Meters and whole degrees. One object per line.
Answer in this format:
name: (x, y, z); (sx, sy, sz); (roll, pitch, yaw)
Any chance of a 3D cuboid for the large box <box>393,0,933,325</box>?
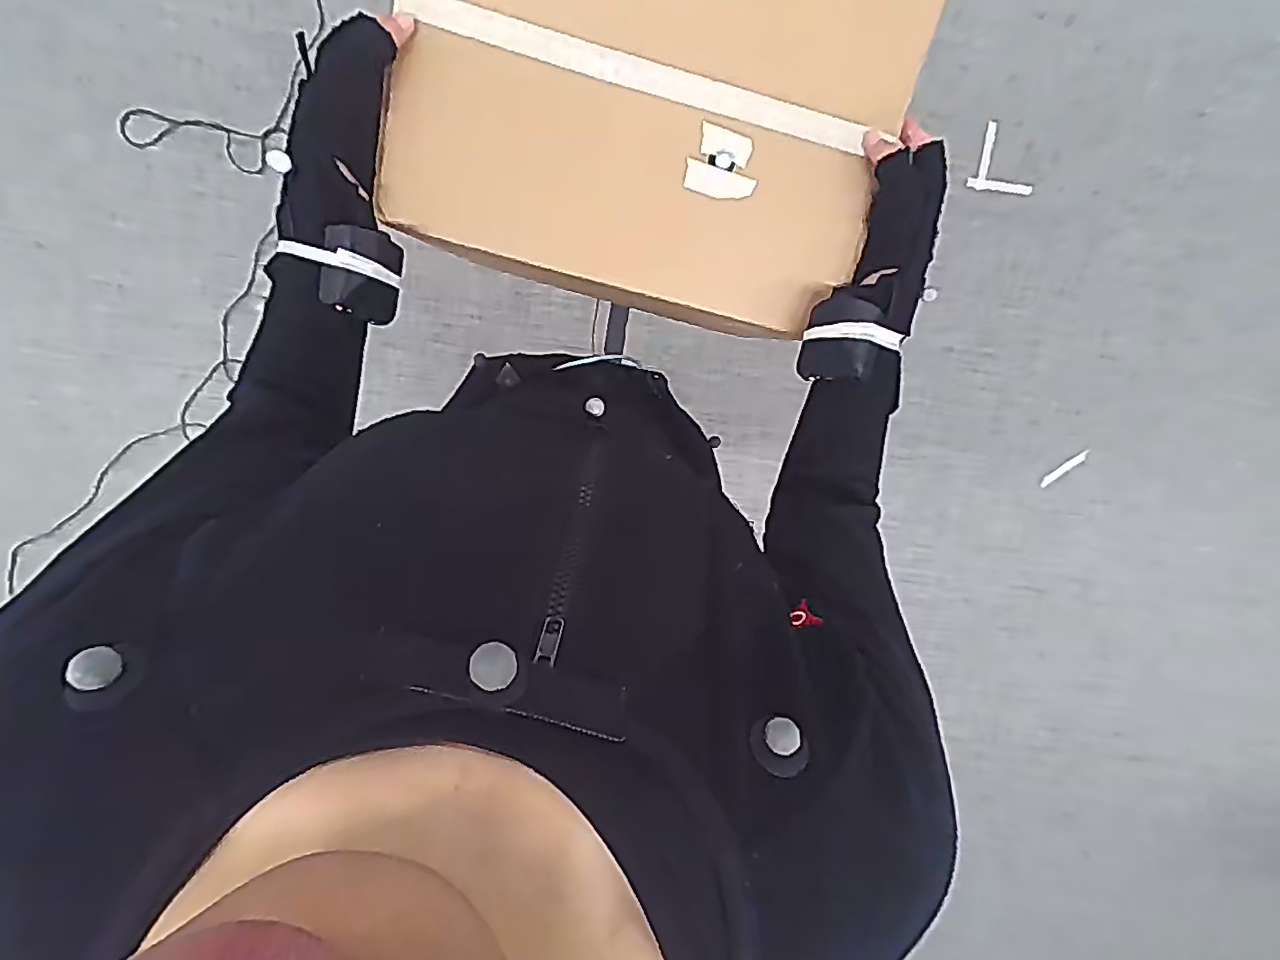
large box: (0.007, -0.366, 0.577); (0.408, 0.320, 0.320); (12, 106, -7)
